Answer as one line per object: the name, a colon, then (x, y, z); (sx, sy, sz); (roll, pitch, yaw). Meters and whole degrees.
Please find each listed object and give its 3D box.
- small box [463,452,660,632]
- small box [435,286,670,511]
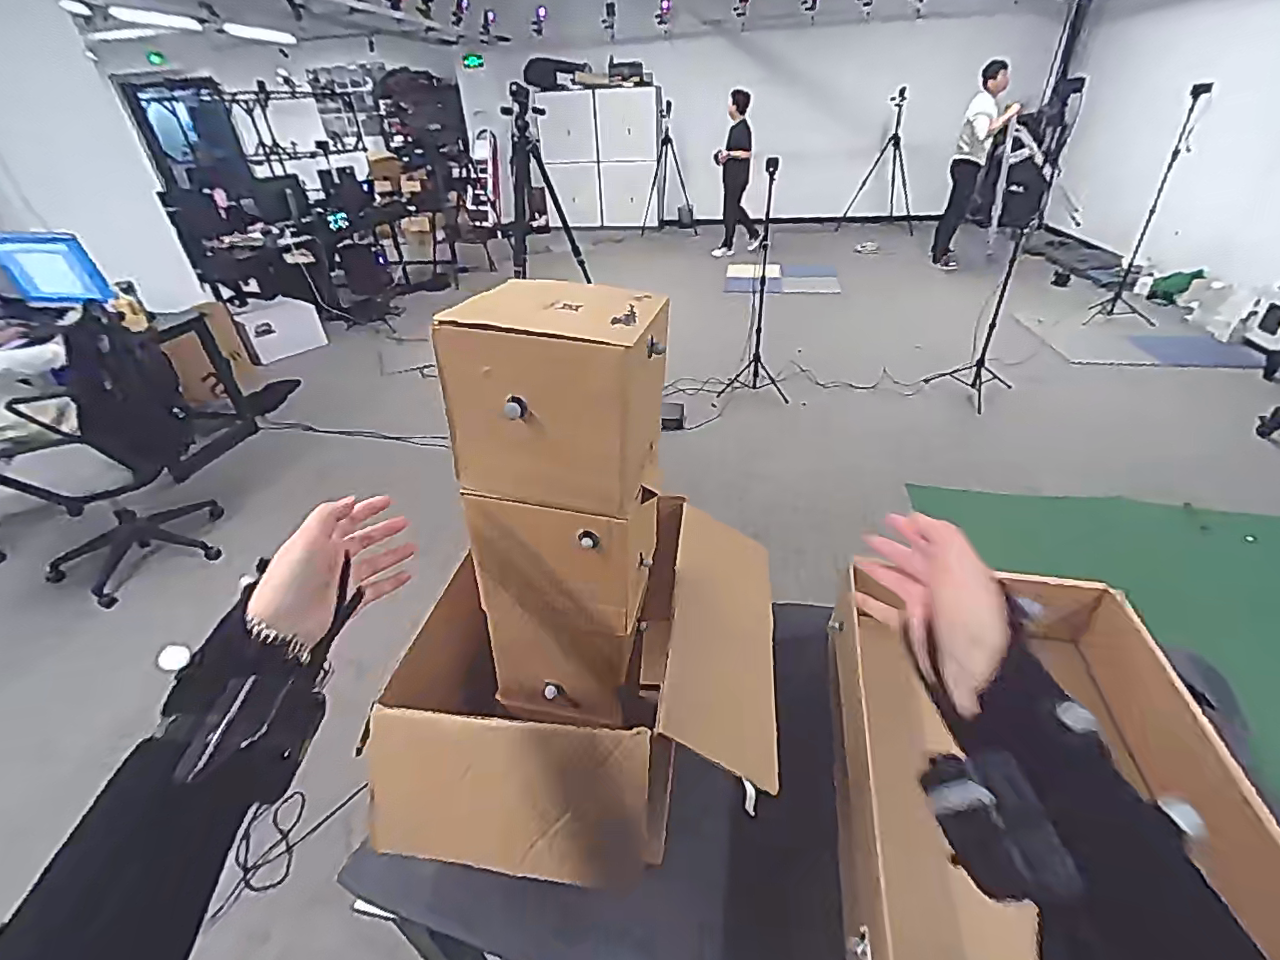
small box: (-0.079, 0.053, 0.630); (0.179, 0.176, 0.168); (8, 34, 8)
small box: (-0.073, -0.086, 0.543); (0.179, 0.176, 0.168); (9, 34, 10)
